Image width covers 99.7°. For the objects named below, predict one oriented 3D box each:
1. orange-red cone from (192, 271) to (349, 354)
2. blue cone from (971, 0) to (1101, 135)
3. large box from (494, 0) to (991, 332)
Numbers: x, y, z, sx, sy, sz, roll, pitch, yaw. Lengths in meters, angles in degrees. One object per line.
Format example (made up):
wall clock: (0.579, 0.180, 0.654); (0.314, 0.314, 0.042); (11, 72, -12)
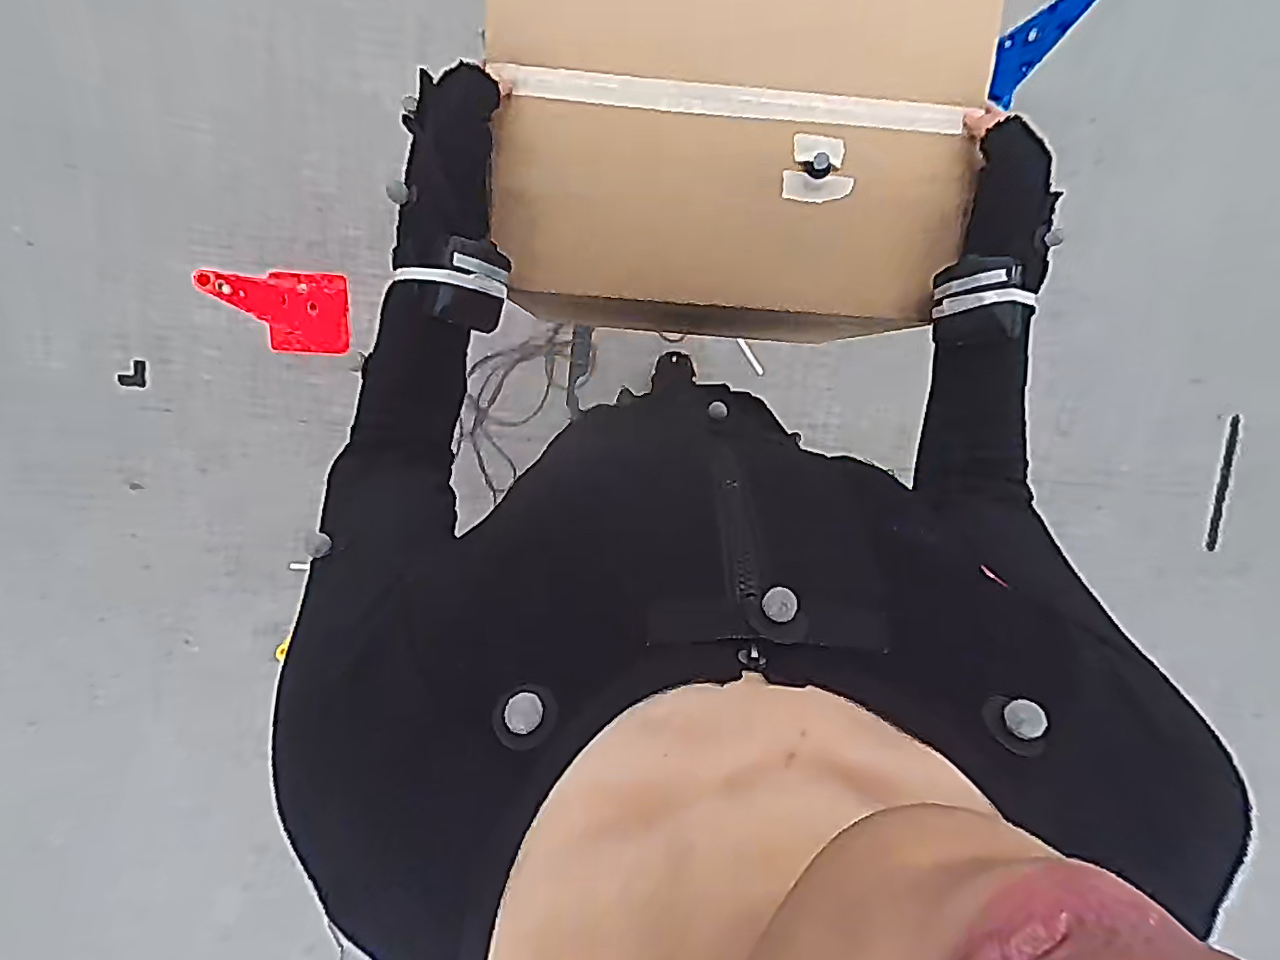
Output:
orange-red cone: (-0.834, -0.398, 1.199); (0.198, 0.360, 0.199); (3, 98, -2)
blue cone: (0.862, -0.967, 1.213); (0.192, 0.380, 0.193); (8, 97, -5)
large box: (0.072, -0.340, 0.586); (0.408, 0.320, 0.320); (3, 101, -4)
